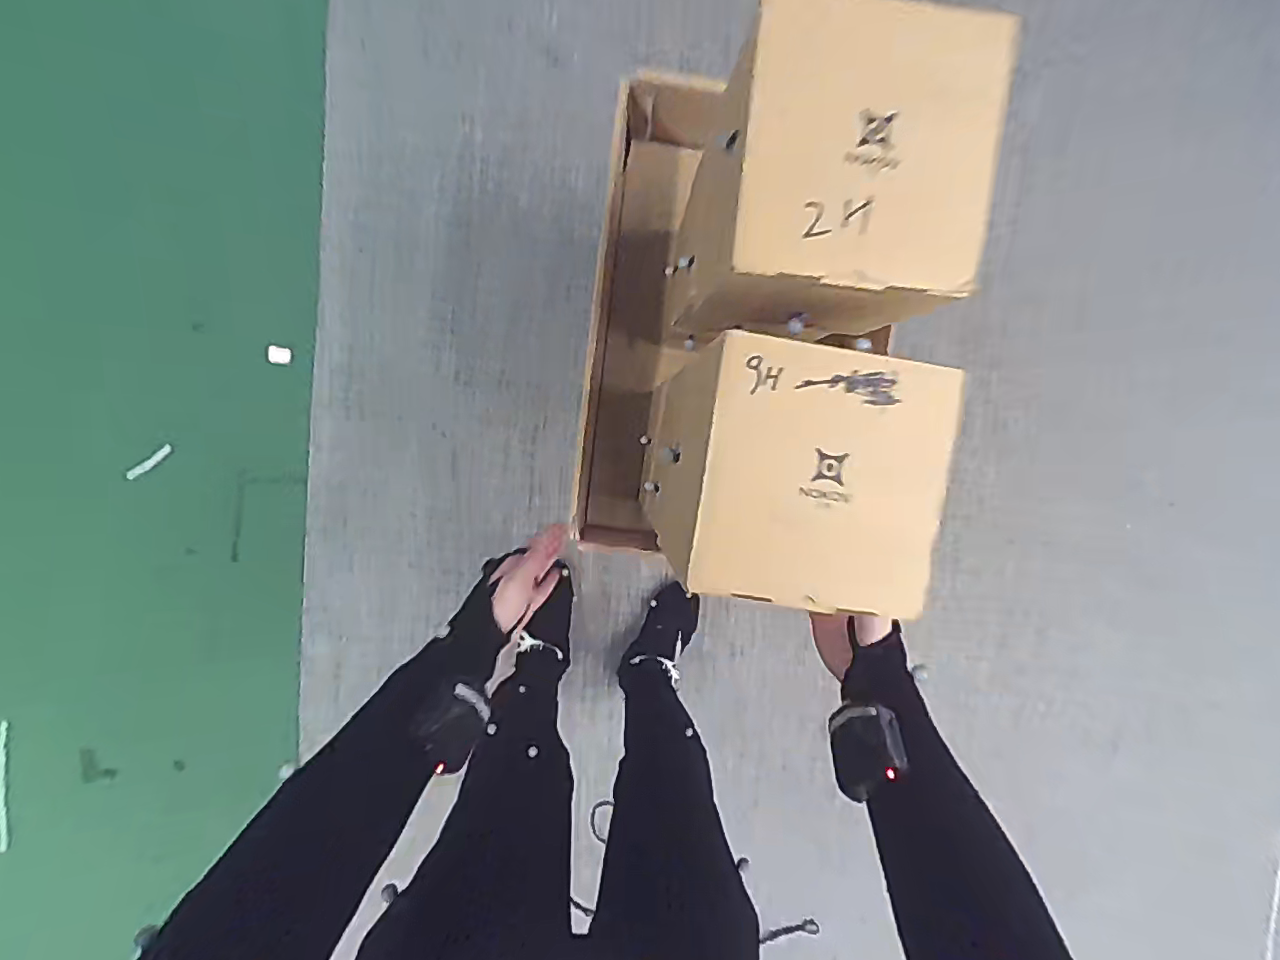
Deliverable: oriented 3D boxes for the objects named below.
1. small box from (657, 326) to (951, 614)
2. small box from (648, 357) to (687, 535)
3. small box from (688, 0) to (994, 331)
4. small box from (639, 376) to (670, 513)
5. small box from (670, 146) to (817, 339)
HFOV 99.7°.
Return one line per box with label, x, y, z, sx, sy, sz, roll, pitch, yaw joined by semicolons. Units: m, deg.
small box;0.110;-0.010;0.441;0.168;0.176;0.179;8;94;-5
small box;0.104;-0.025;0.604;0.168;0.176;0.179;9;92;-4
small box;0.135;-0.228;0.430;0.168;0.176;0.179;5;96;-3
small box;0.090;-0.039;0.766;0.168;0.176;0.179;7;92;-4
small box;0.129;-0.260;0.593;0.168;0.176;0.179;6;96;-4
